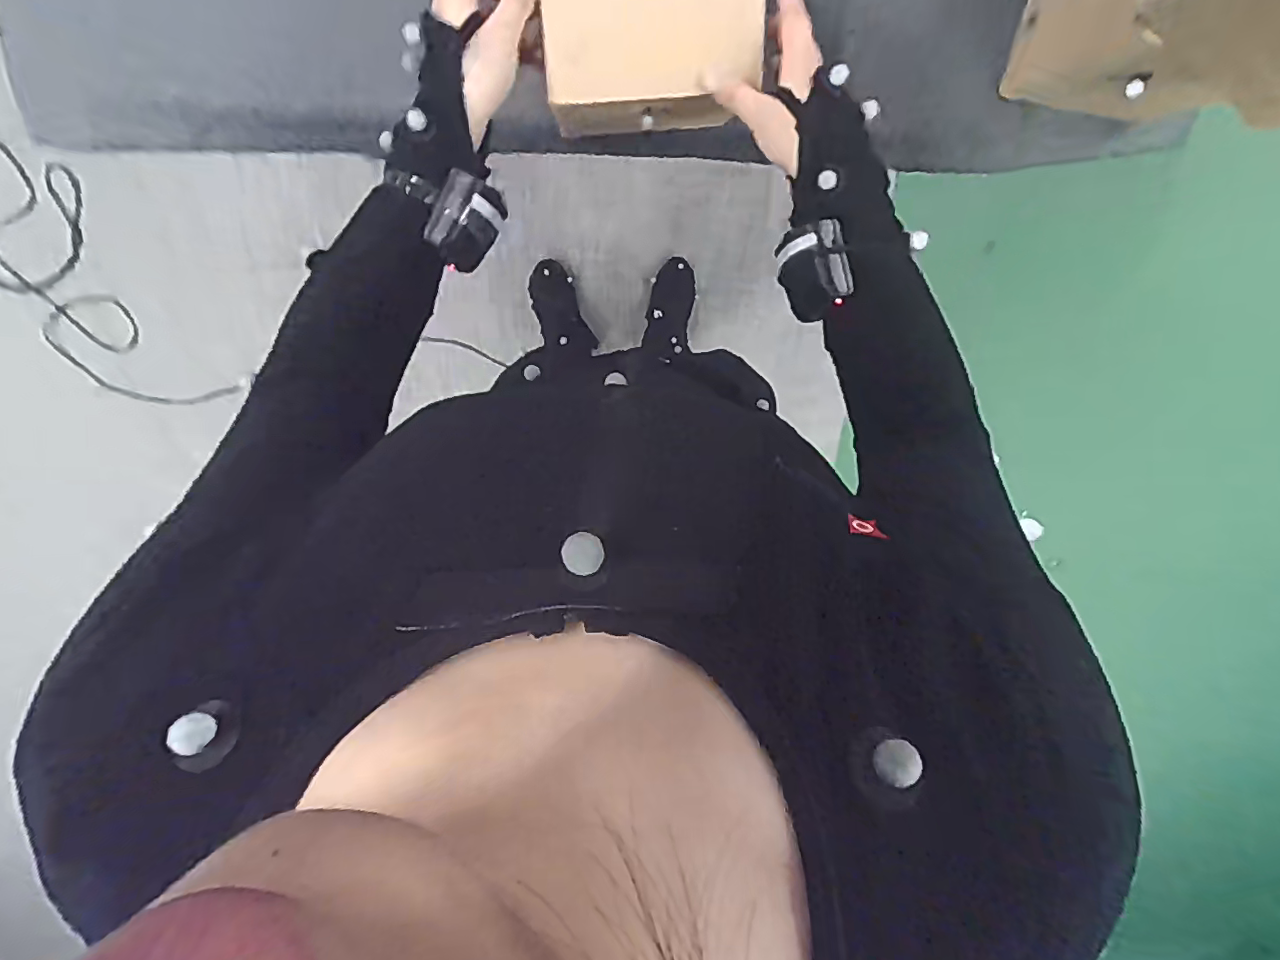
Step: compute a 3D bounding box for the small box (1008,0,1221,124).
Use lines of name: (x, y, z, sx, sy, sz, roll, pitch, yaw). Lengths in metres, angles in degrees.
small box: (0.488, -0.446, 0.491, 0.179, 0.176, 0.168, 5, 112, -6)

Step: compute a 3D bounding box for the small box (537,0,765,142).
small box: (0.004, -0.409, 0.477, 0.179, 0.176, 0.168, -6, 117, -1)
